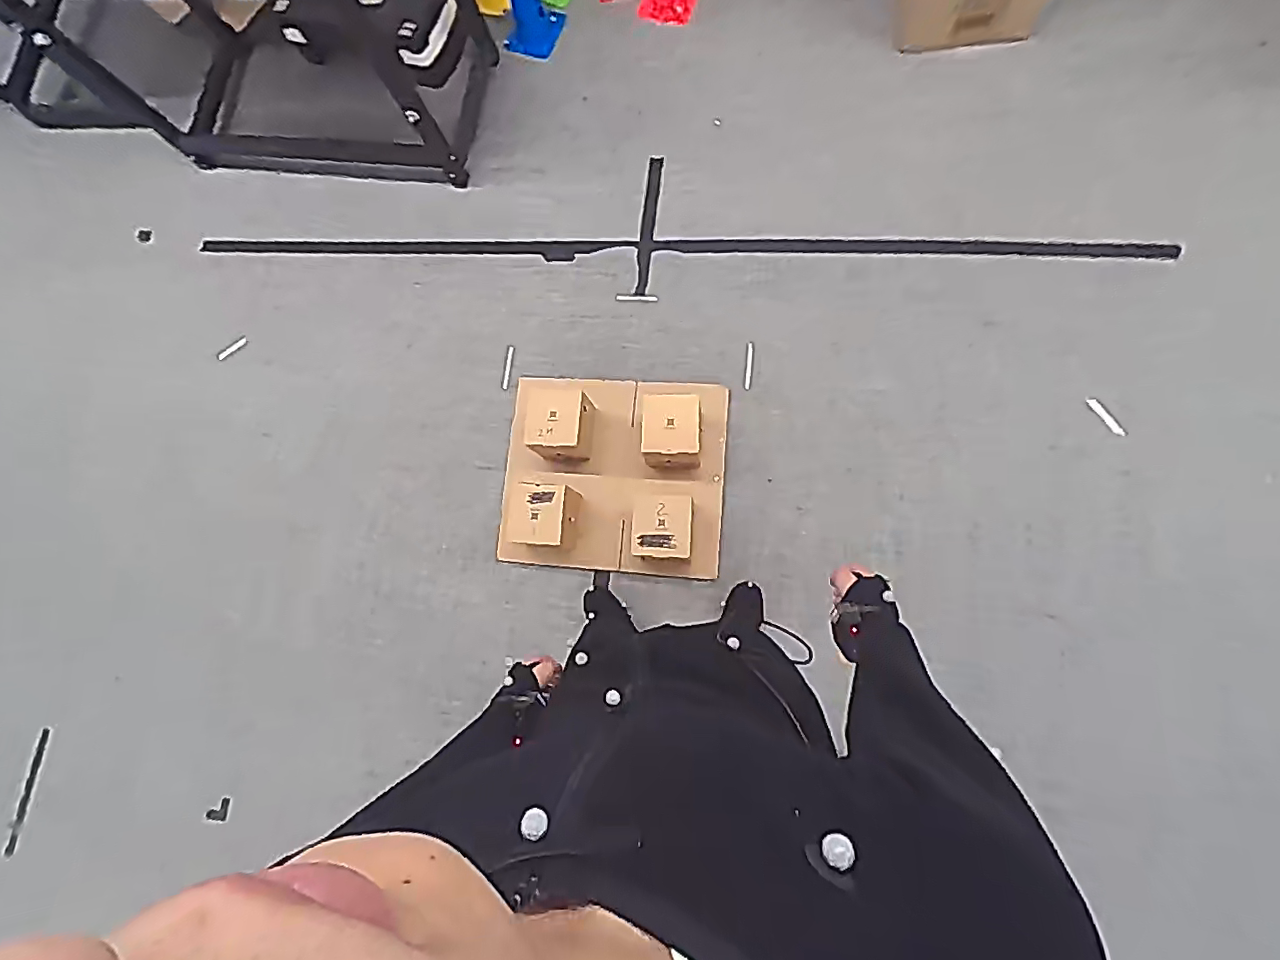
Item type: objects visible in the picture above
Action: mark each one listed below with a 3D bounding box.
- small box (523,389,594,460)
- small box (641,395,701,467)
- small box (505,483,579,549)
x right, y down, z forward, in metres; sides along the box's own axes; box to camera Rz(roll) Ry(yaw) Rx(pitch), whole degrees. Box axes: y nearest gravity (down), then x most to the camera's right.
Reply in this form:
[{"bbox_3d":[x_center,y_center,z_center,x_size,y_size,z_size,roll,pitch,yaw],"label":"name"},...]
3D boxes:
[{"bbox_3d":[-0.244,-0.167,1.664,0.168,0.176,0.179,3,80,10],"label":"small box"},{"bbox_3d":[0.095,-0.142,1.616,0.168,0.176,0.179,0,80,8],"label":"small box"},{"bbox_3d":[-0.287,0.111,1.620,0.168,0.176,0.179,2,81,9],"label":"small box"}]
